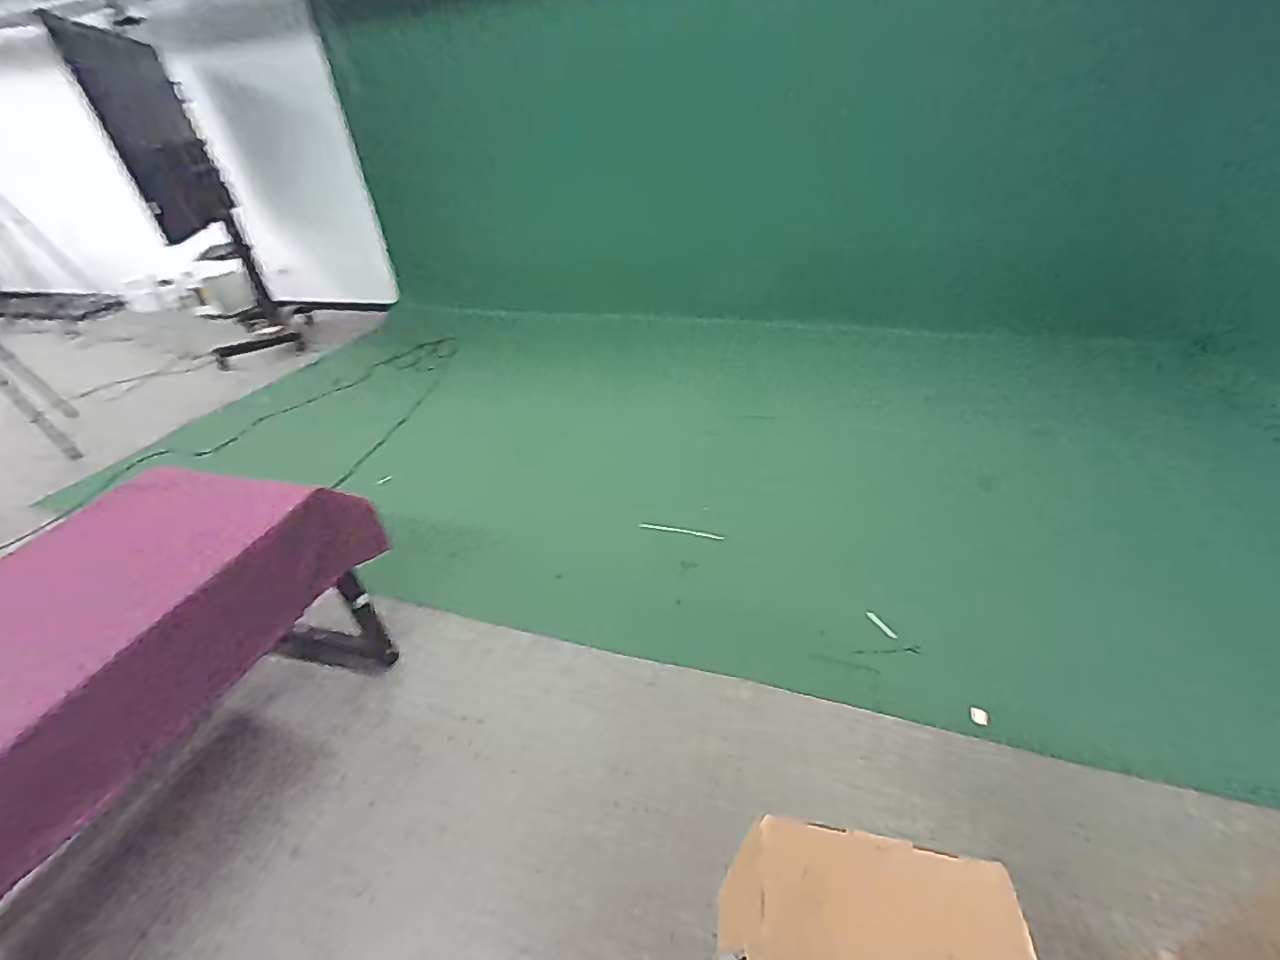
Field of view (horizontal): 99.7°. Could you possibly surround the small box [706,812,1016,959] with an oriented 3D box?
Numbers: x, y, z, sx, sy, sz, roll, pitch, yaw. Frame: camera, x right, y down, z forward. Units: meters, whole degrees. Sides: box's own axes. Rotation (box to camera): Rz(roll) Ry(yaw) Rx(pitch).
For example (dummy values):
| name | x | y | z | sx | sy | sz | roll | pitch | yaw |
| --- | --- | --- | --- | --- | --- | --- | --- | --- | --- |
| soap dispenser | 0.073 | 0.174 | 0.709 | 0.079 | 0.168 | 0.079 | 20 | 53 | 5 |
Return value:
| name | x | y | z | sx | sy | sz | roll | pitch | yaw |
| --- | --- | --- | --- | --- | --- | --- | --- | --- | --- |
| small box | 0.133 | 0.360 | 0.353 | 0.168 | 0.176 | 0.179 | 9 | 39 | 5 |
